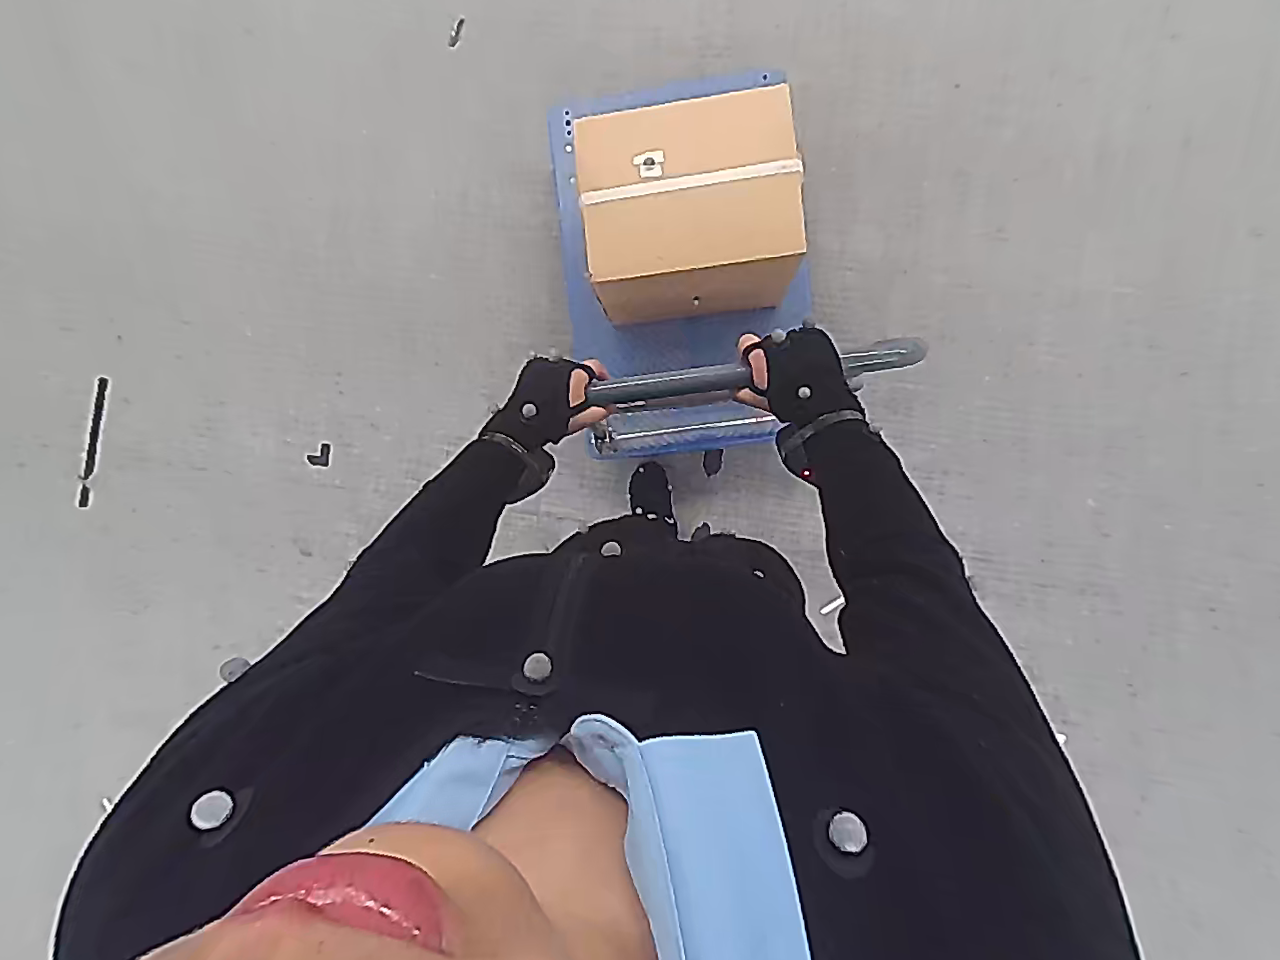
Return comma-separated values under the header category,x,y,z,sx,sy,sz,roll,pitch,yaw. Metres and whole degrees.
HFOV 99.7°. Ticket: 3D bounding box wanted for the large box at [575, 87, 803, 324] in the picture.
category,x,y,z,sx,sy,sz,roll,pitch,yaw
large box,0.104,-0.553,1.163,0.408,0.320,0.320,-7,89,6
